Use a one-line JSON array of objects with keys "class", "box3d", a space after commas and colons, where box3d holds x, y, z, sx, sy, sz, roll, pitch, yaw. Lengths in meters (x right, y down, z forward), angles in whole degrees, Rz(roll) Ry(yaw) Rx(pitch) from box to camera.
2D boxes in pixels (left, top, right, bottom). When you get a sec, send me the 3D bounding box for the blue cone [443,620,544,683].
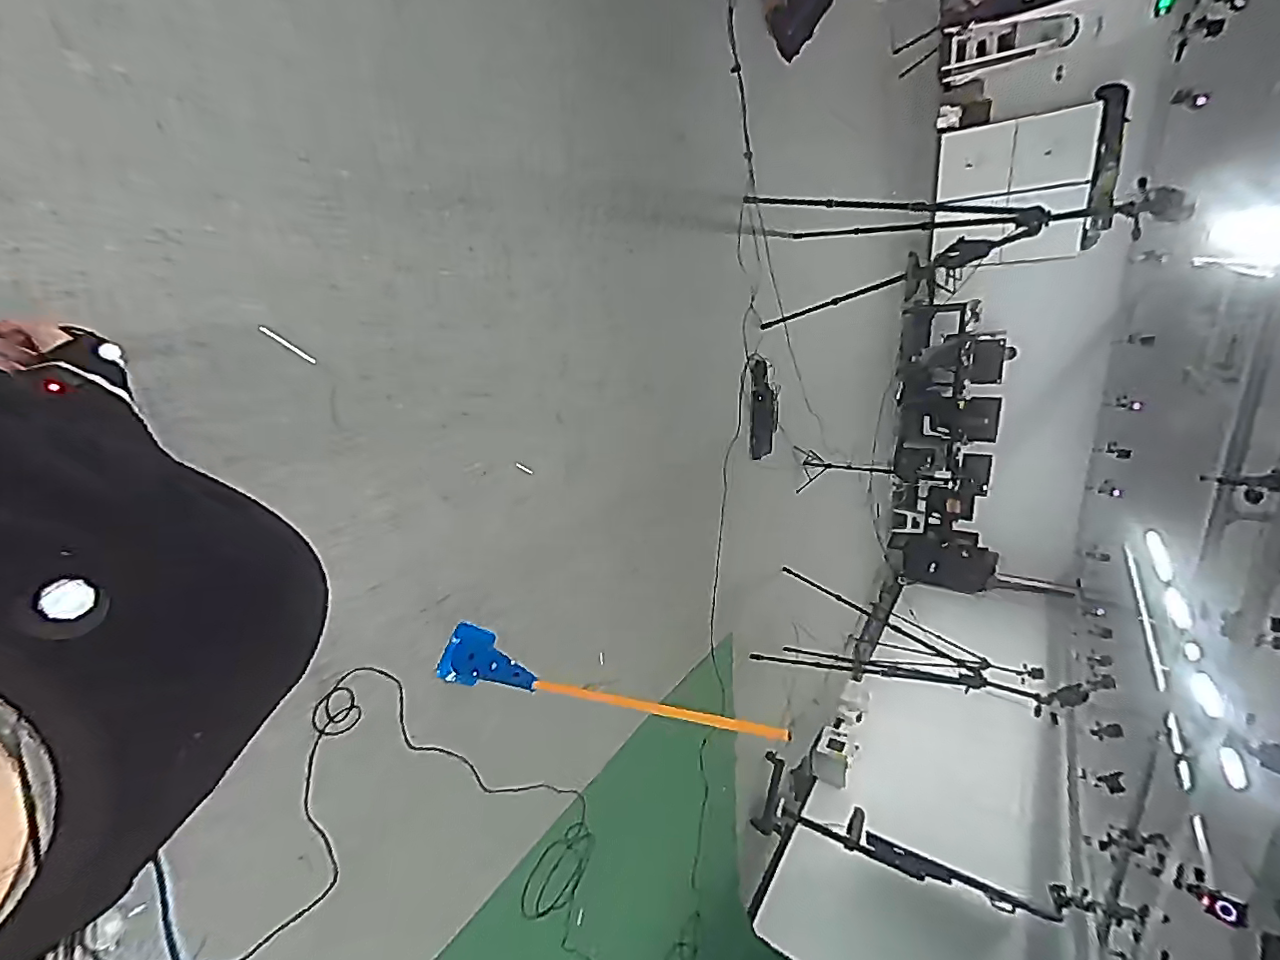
[{"class": "blue cone", "box3d": [-0.480, 0.624, 1.855, 0.192, 0.380, 0.193, 43, 60, -49]}]
